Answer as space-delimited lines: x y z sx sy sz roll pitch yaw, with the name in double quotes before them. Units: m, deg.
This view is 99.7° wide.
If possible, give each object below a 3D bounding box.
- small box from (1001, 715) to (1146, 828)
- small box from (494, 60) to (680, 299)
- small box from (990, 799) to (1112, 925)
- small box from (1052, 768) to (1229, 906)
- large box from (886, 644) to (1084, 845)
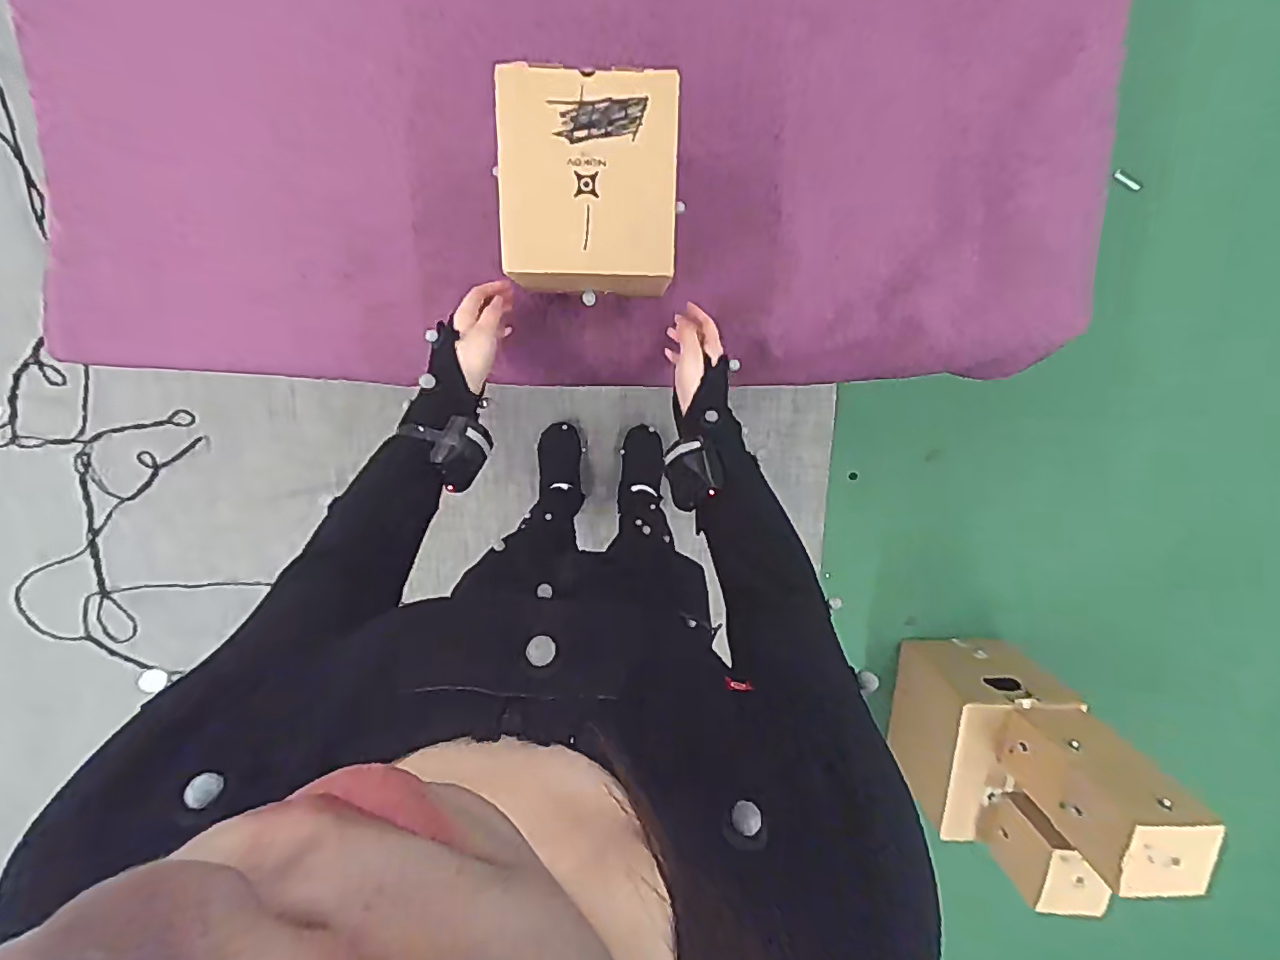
"small box" 0.978 0.660 1.234 0.179 0.176 0.168 2 103 -2
"small box" -0.051 -0.293 0.566 0.168 0.176 0.179 1 103 -1
"small box" 0.976 0.904 1.287 0.168 0.176 0.179 6 102 -4
"small box" 0.980 0.700 1.074 0.179 0.176 0.168 1 103 -1
"large box" 0.919 0.709 1.492 0.320 0.320 0.408 1 103 -1
